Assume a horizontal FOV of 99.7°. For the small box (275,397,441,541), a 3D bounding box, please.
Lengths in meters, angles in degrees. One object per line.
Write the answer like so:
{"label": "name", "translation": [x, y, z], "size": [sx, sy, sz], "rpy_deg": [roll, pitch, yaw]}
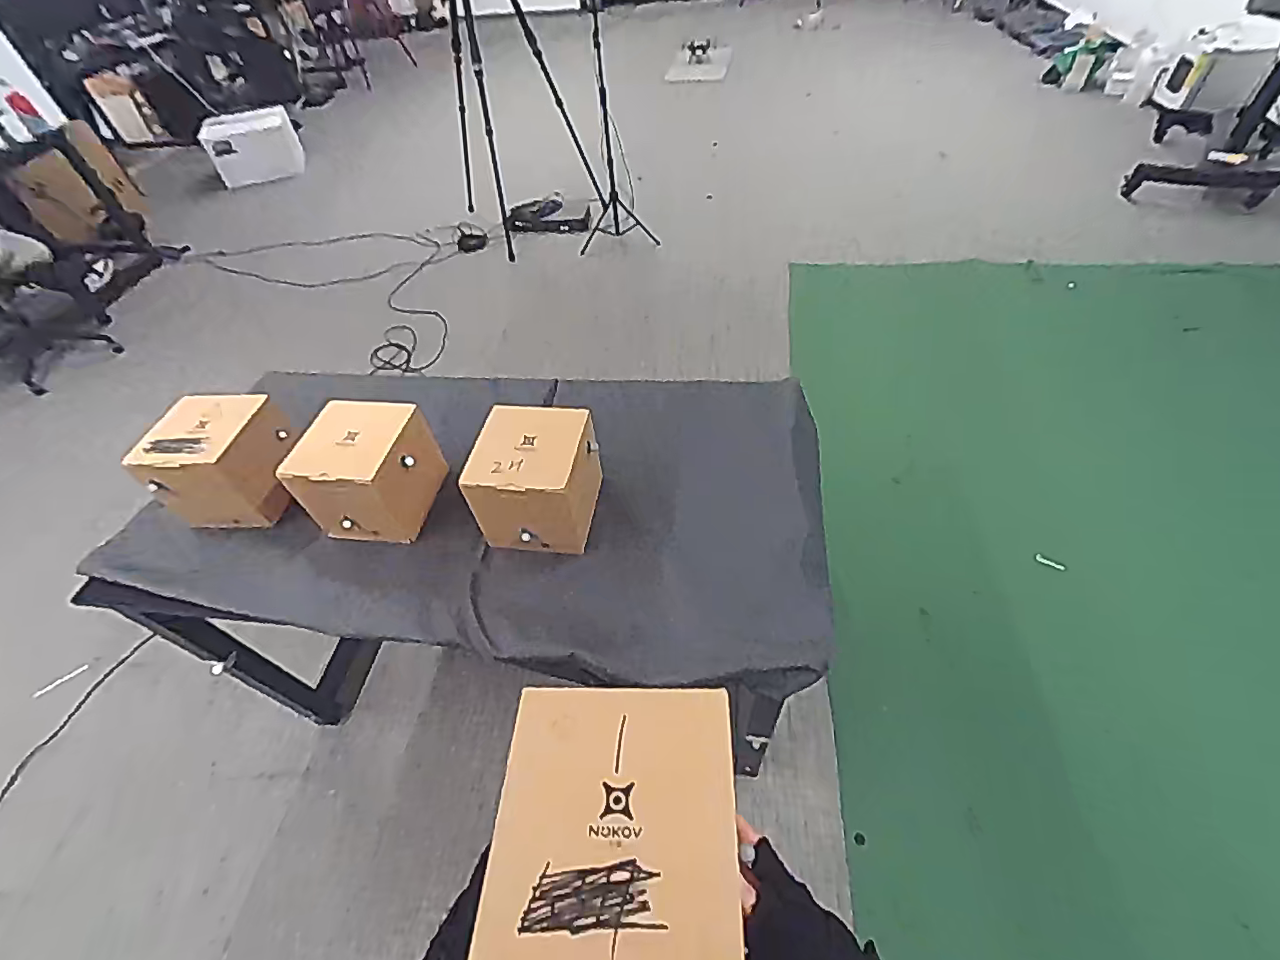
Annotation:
{"label": "small box", "translation": [-0.466, -0.019, 0.931], "size": [0.168, 0.176, 0.179], "rpy_deg": [4, 51, 7]}

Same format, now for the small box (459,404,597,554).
{"label": "small box", "translation": [-0.170, -0.002, 0.893], "size": [0.168, 0.176, 0.179], "rpy_deg": [4, 50, 8]}

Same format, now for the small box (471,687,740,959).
{"label": "small box", "translation": [-0.010, 0.283, 0.428], "size": [0.168, 0.176, 0.179], "rpy_deg": [-1, 47, 5]}
